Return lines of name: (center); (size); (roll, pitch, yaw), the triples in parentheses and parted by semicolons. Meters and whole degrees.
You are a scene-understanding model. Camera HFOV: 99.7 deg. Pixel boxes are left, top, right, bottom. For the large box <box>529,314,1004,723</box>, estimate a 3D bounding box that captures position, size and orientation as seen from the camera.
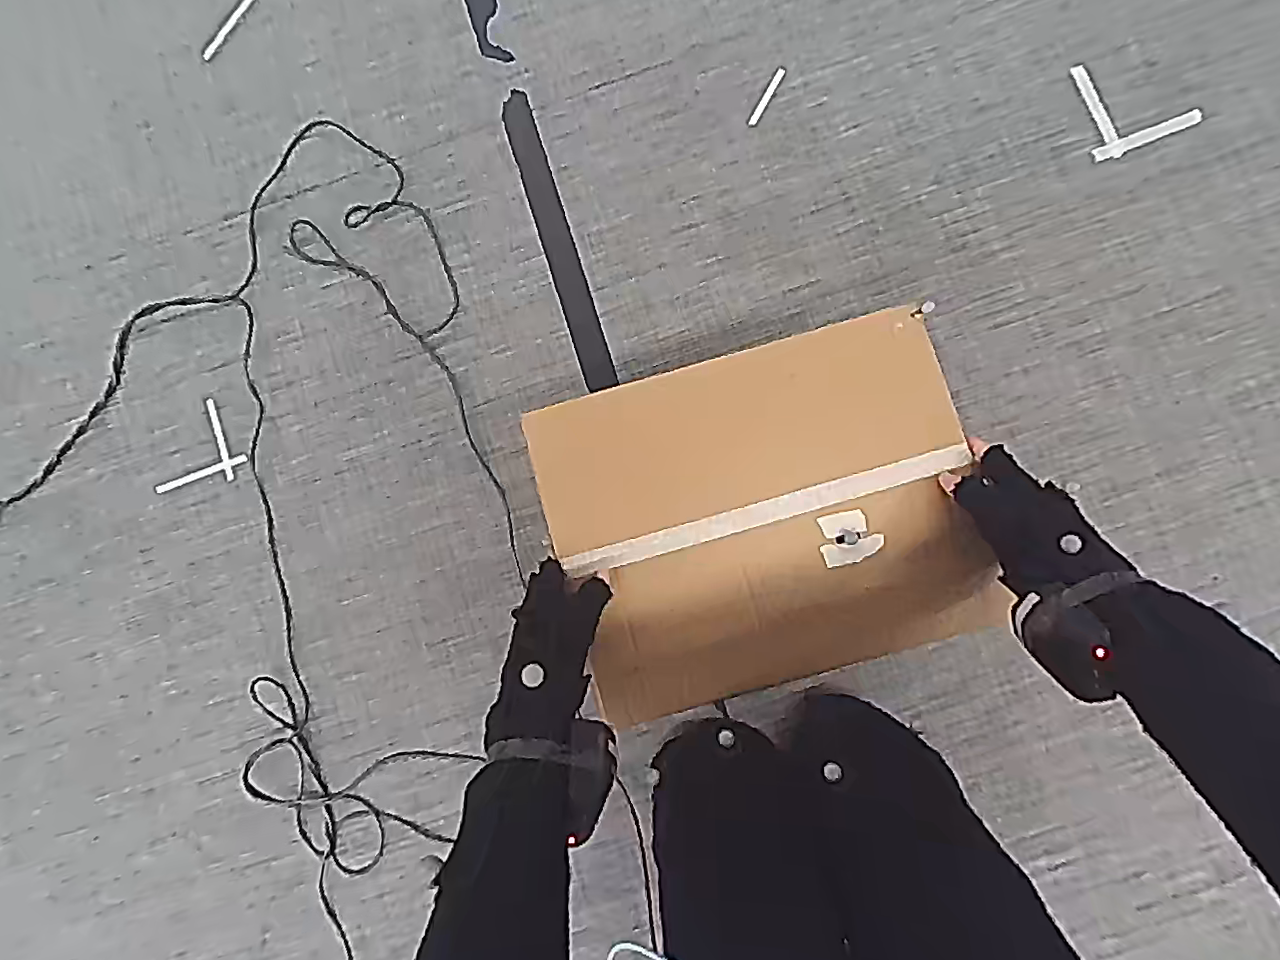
large box: (0.120, 0.049, 0.678); (0.408, 0.320, 0.320); (-16, 84, 0)
